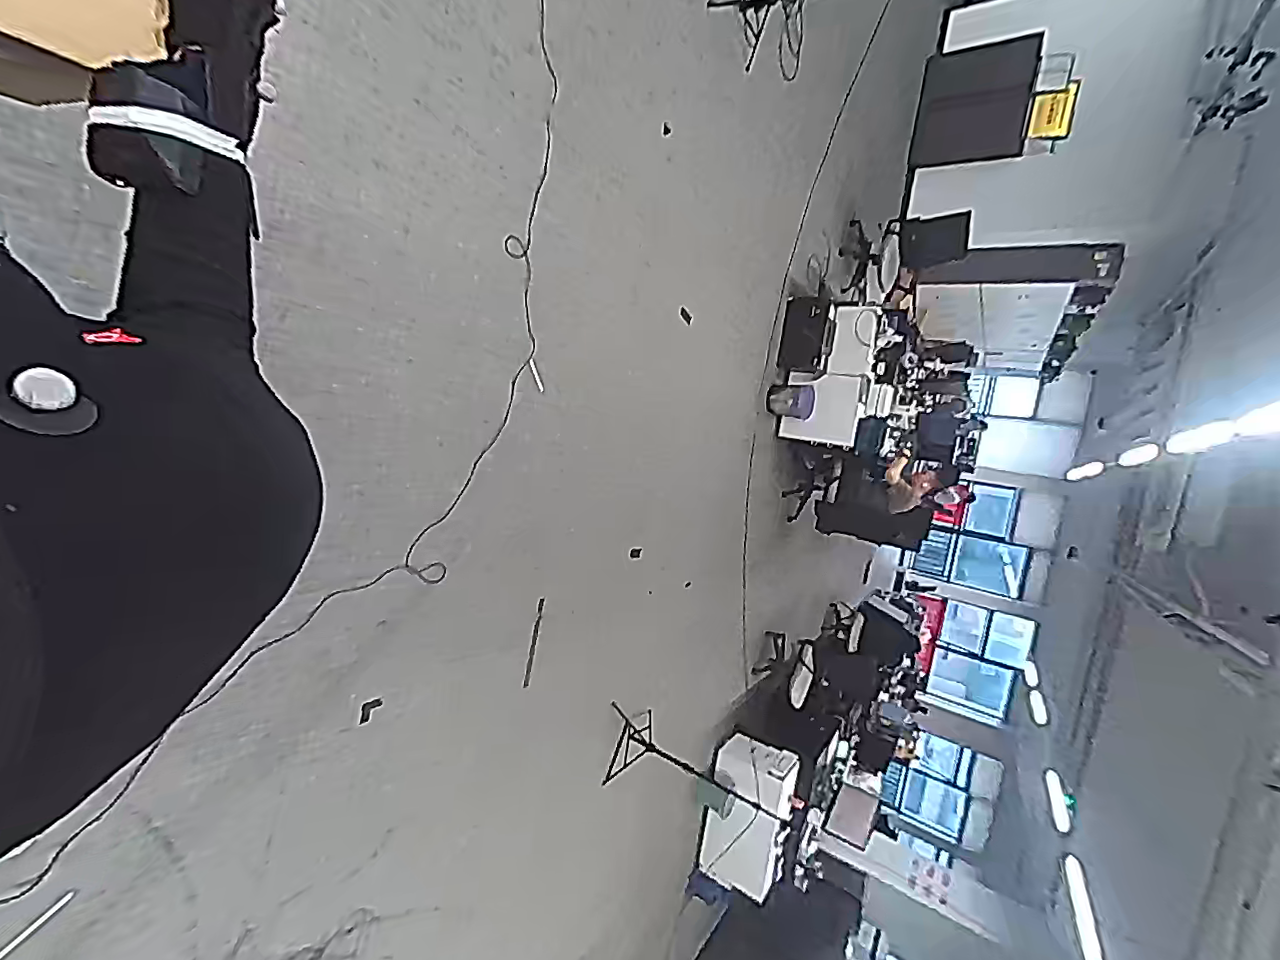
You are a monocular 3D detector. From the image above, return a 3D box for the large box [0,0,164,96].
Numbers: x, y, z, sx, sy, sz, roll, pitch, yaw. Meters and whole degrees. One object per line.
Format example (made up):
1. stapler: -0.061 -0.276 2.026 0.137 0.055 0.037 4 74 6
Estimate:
1. large box: -0.525 -0.439 0.240 0.408 0.320 0.320 -9 117 -59
